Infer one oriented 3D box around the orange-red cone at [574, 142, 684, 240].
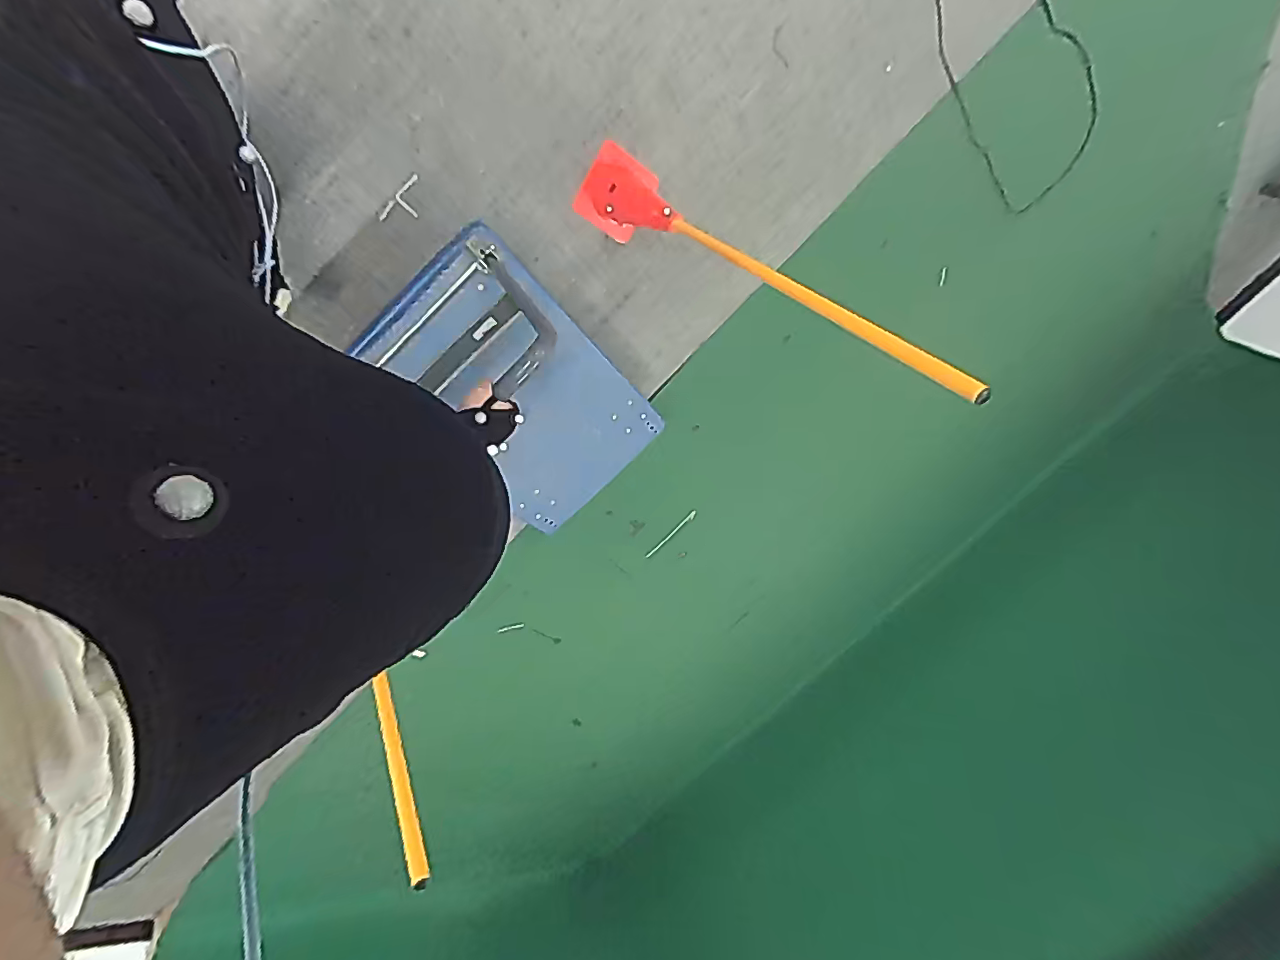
[{"bbox_3d":[0.009,-0.704,1.389,0.198,0.360,0.199,19,113,-41],"label":"orange-red cone"}]
